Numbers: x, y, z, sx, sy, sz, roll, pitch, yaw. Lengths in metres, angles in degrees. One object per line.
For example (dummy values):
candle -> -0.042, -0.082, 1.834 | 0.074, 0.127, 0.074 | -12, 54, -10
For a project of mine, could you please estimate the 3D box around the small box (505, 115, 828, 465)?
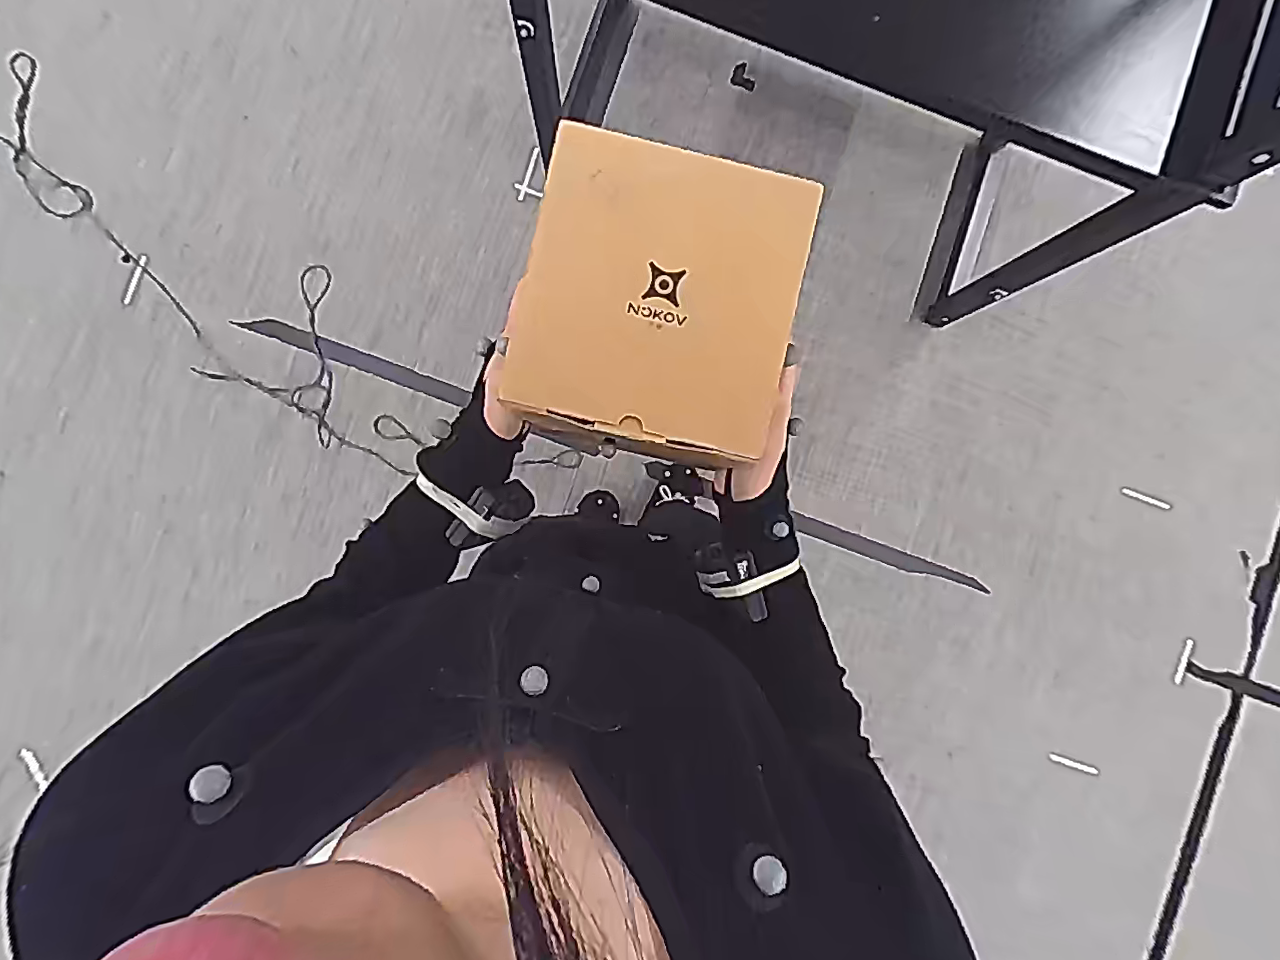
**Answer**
small box -> 0.013, -0.113, 0.399 | 0.168, 0.176, 0.179 | 12, 90, -2
